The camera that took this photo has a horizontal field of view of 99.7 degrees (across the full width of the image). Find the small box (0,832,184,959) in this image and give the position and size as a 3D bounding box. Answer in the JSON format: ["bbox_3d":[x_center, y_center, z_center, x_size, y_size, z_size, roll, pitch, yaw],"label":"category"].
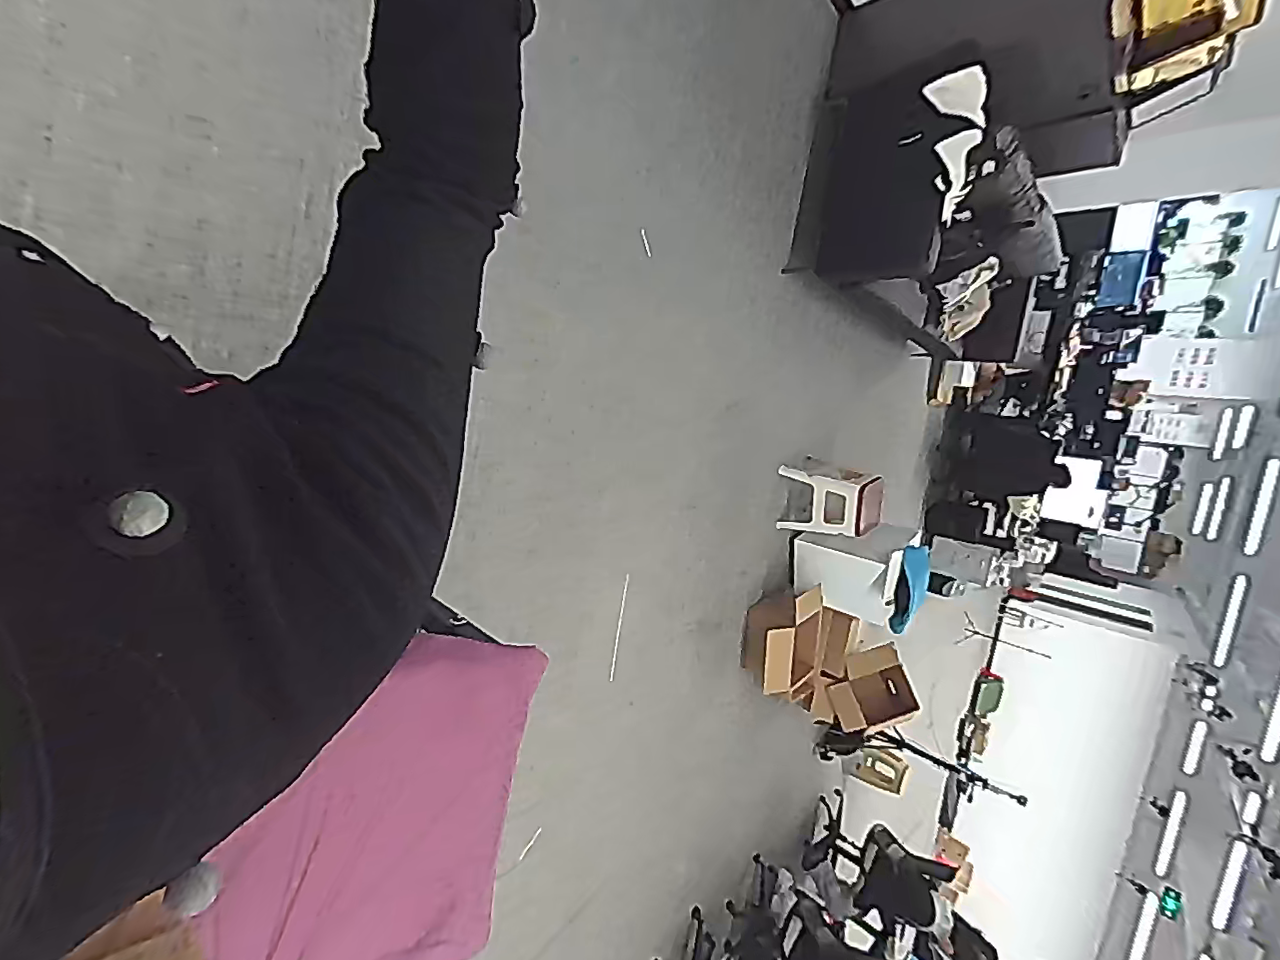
[{"bbox_3d":[-0.594,0.514,0.552,0.168,0.176,0.179,12,92,-49],"label":"small box"}]

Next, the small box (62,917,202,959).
[{"bbox_3d":[-0.470,0.531,0.447,0.168,0.176,0.179,10,94,-49],"label":"small box"}]
